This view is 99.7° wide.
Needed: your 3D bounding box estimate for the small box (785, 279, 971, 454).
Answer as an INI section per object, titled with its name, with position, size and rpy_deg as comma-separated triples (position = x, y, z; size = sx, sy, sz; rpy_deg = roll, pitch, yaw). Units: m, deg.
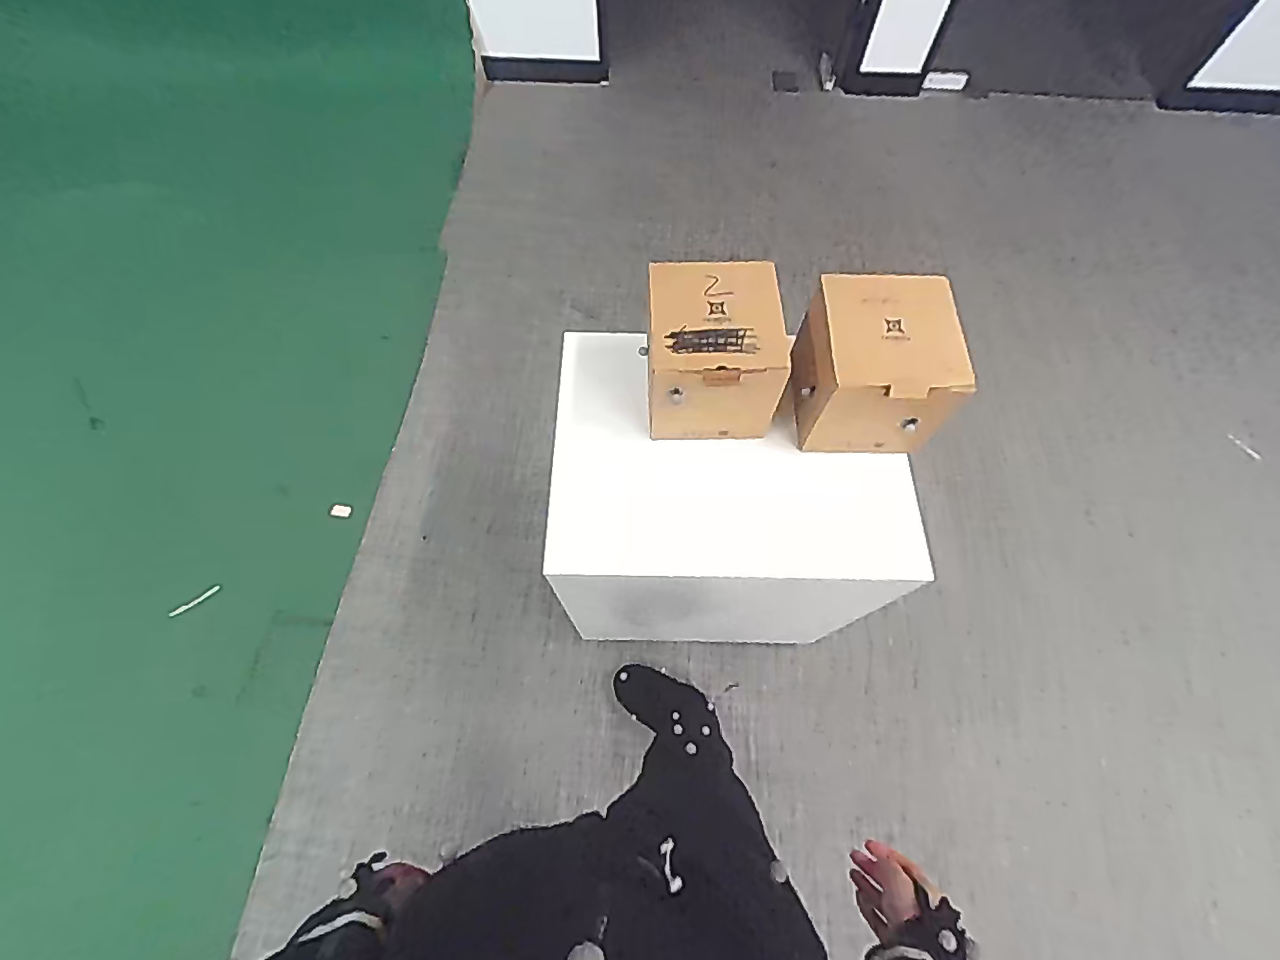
[small box]
position = 0.304, -0.146, 0.732
size = 0.168, 0.176, 0.179
rpy_deg = 1, 65, -1
